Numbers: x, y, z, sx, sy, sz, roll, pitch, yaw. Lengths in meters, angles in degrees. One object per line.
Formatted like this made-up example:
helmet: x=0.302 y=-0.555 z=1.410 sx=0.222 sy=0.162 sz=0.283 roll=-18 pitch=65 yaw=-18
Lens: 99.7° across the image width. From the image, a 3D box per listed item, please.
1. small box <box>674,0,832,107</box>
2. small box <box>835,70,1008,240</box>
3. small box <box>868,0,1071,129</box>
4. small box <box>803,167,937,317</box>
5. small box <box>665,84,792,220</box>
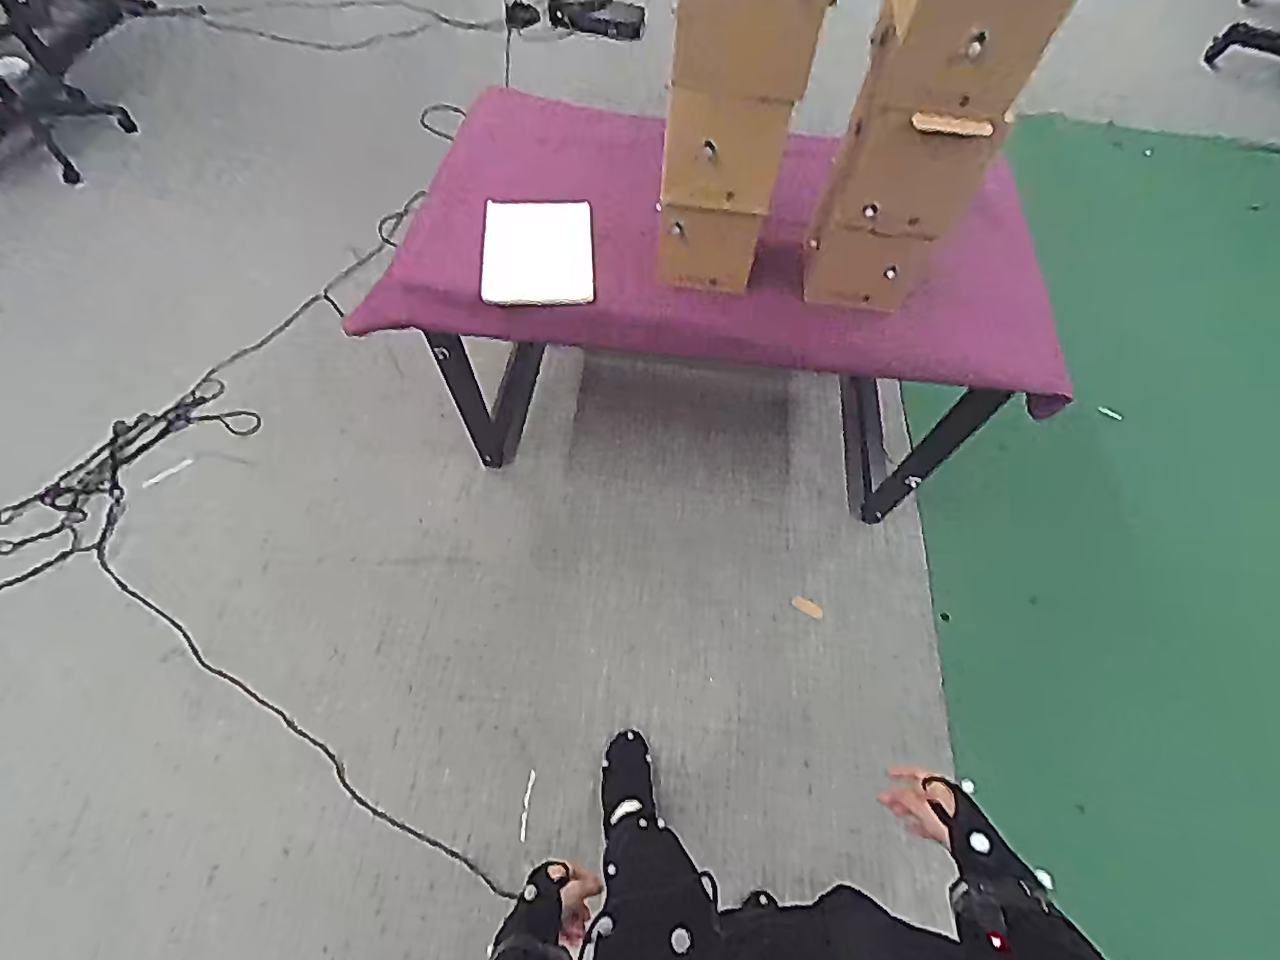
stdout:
small box: x=0.145 y=-0.600 z=0.675 sx=0.179 sy=0.176 sz=0.168 roll=9 pitch=60 yaw=5
small box: x=0.406 y=-0.490 z=0.814 sx=0.168 sy=0.176 sz=0.179 roll=7 pitch=60 yaw=1
small box: x=0.400 y=-0.571 z=0.671 sx=0.168 sy=0.176 sz=0.179 roll=9 pitch=62 yaw=1
small box: x=0.396 y=-0.415 z=0.959 sx=0.168 sy=0.176 sz=0.179 roll=9 pitch=60 yaw=2
small box: x=0.132 y=-0.525 z=0.823 sx=0.168 sy=0.176 sz=0.179 roll=8 pitch=60 yaw=3
